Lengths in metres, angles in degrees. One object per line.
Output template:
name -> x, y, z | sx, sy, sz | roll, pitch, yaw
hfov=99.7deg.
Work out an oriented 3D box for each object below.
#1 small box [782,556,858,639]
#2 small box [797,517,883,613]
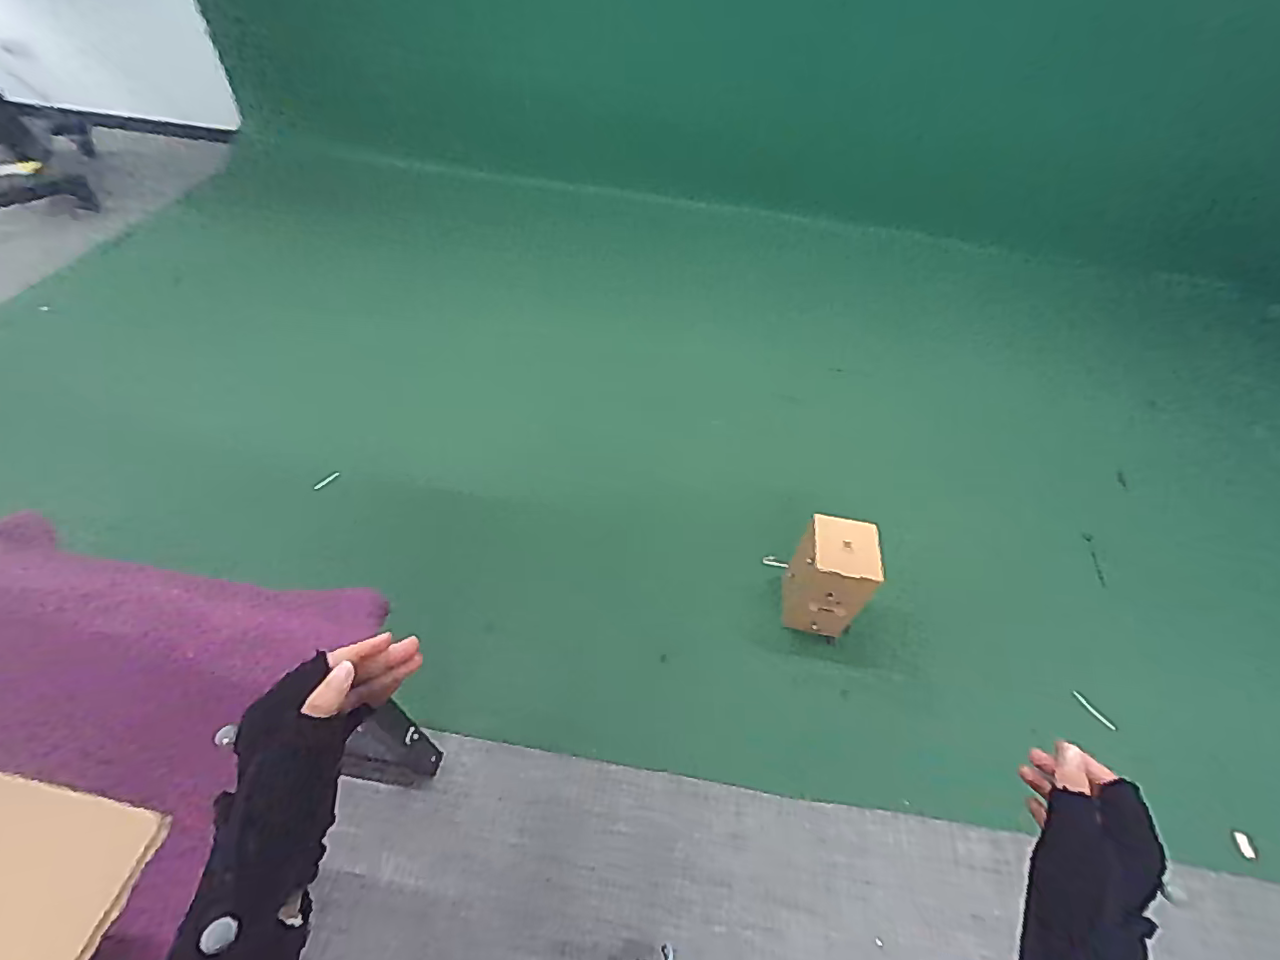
small box -> 0.515, 0.333, 1.567 | 0.168, 0.176, 0.179 | 11, 50, 4
small box -> 0.525, 0.228, 1.442 | 0.168, 0.176, 0.179 | 10, 51, 3
